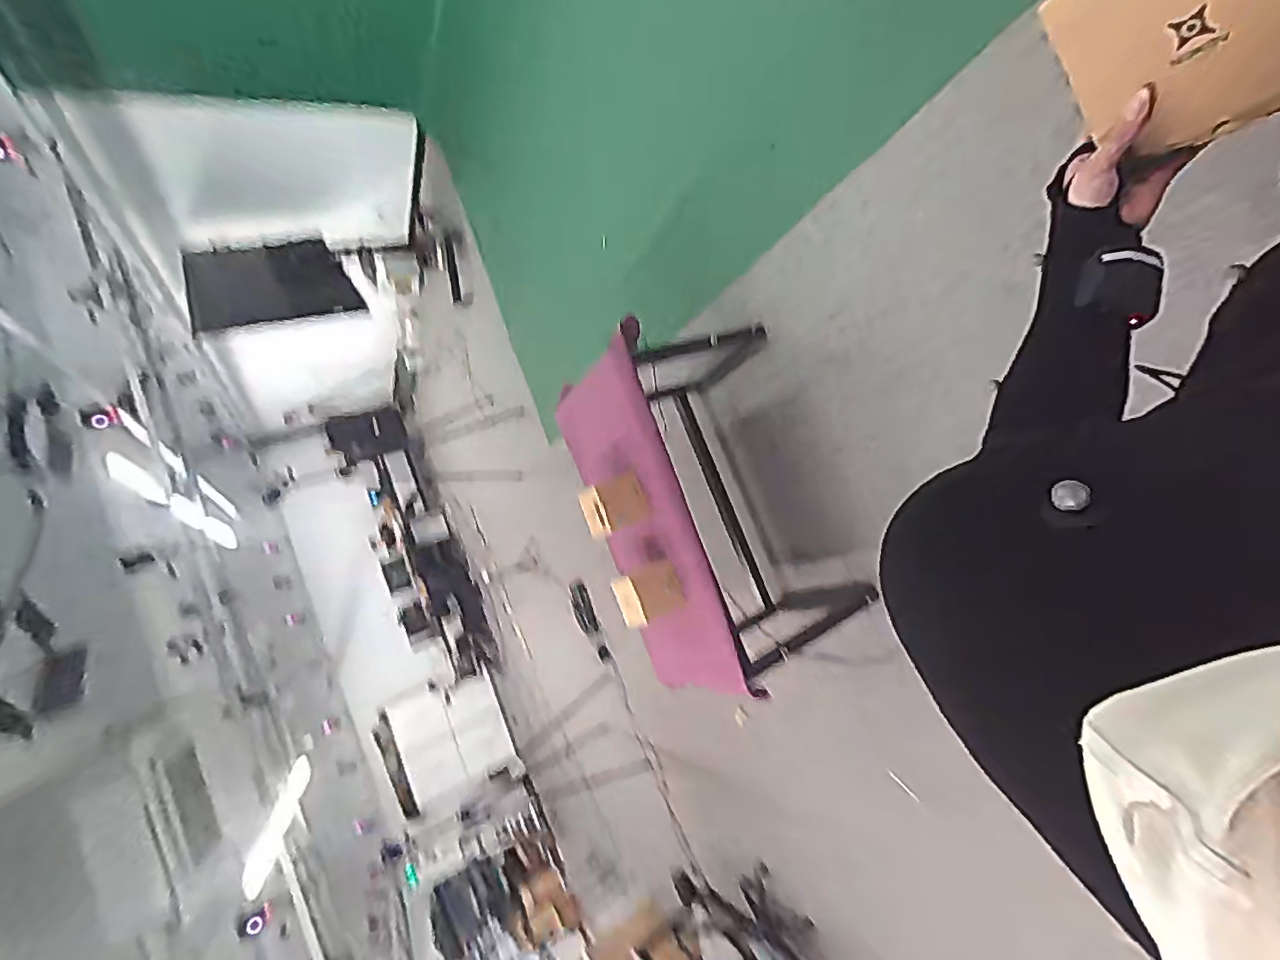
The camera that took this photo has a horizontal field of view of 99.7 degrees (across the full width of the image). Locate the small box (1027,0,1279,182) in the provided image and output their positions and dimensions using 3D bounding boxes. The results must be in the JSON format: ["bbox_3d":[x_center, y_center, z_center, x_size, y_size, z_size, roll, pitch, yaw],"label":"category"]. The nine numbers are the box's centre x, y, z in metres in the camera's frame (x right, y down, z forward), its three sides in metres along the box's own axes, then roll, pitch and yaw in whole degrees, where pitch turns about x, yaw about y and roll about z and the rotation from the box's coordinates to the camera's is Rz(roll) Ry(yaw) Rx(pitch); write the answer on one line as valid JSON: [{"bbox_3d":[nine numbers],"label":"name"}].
[{"bbox_3d":[0.477,-0.404,0.449,0.179,0.176,0.168,46,164,-17],"label":"small box"}]

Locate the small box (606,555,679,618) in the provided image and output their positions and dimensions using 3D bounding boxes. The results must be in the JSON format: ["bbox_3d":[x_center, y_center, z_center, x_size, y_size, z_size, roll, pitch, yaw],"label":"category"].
[{"bbox_3d":[0.008,0.376,1.901,0.179,0.176,0.168,-30,81,60],"label":"small box"}]
